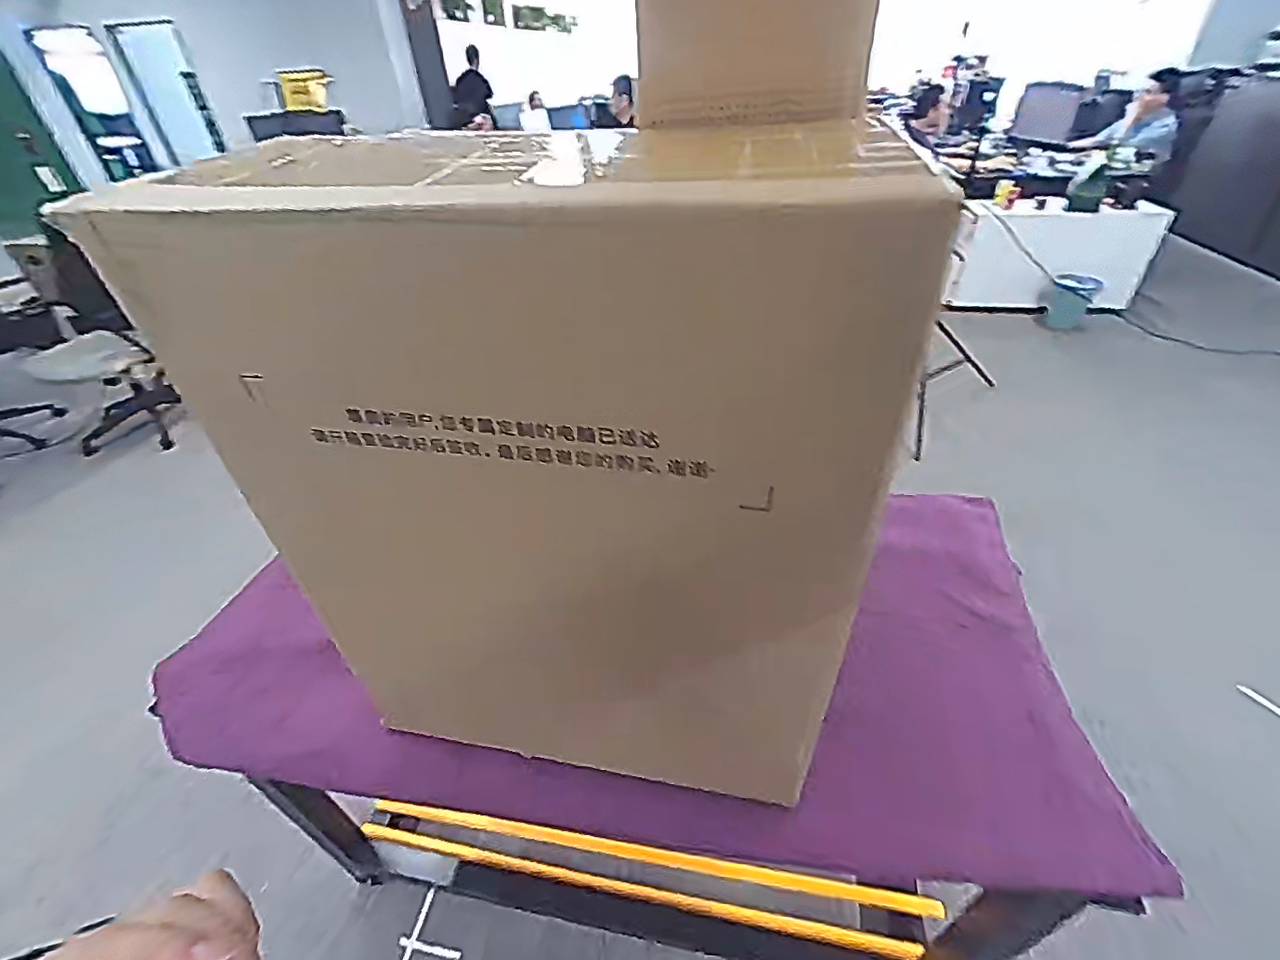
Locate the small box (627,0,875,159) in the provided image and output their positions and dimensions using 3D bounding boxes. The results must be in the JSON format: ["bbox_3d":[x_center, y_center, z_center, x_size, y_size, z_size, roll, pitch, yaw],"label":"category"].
[{"bbox_3d":[0.087,-0.374,0.442,0.179,0.176,0.168,1,37,8],"label":"small box"}]
